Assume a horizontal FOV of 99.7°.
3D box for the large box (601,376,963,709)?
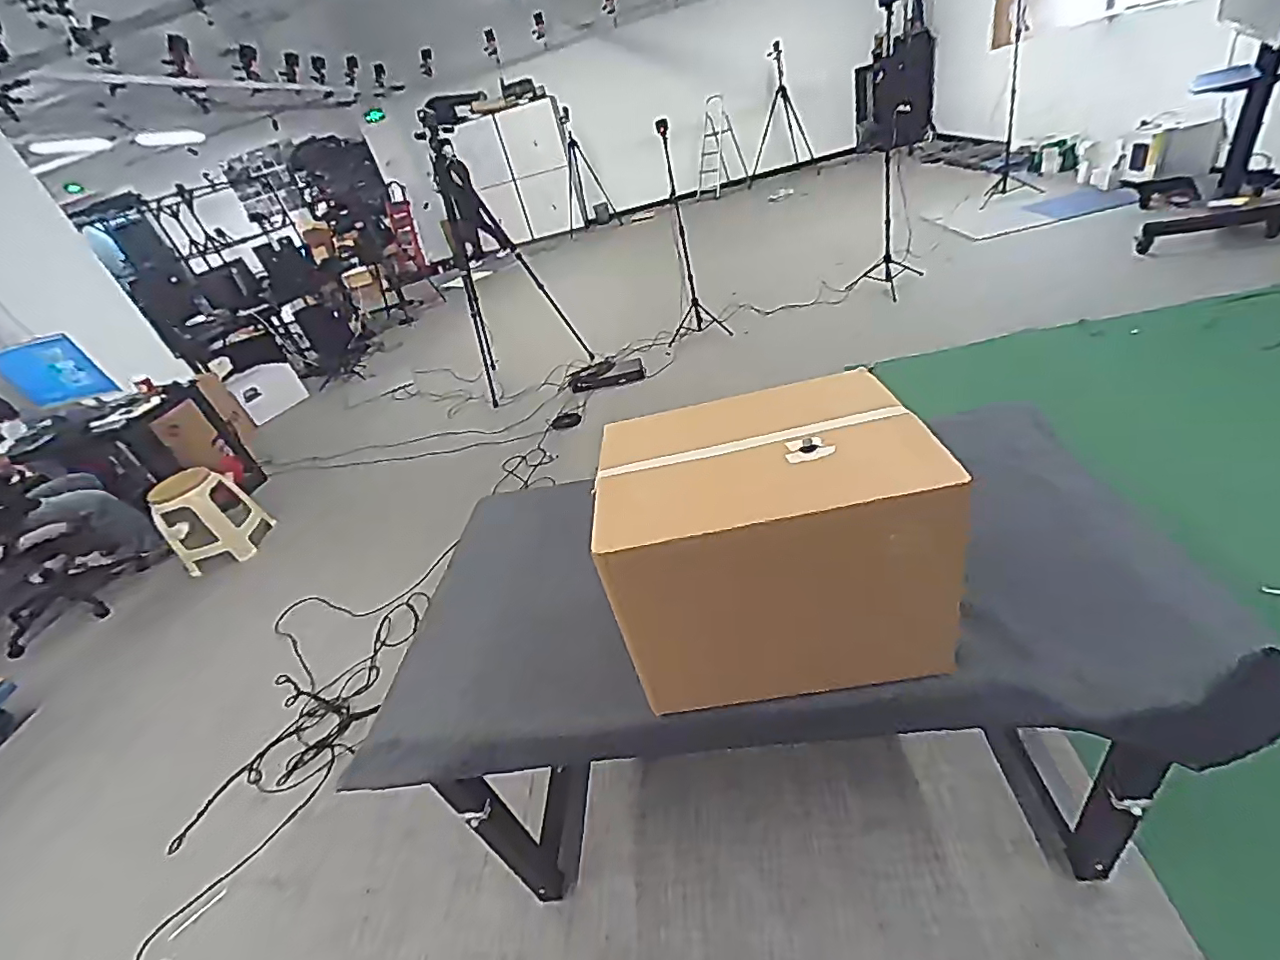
[{"bbox_3d":[0.176,0.085,0.786,0.408,0.320,0.320,-11,33,6],"label":"large box"}]
